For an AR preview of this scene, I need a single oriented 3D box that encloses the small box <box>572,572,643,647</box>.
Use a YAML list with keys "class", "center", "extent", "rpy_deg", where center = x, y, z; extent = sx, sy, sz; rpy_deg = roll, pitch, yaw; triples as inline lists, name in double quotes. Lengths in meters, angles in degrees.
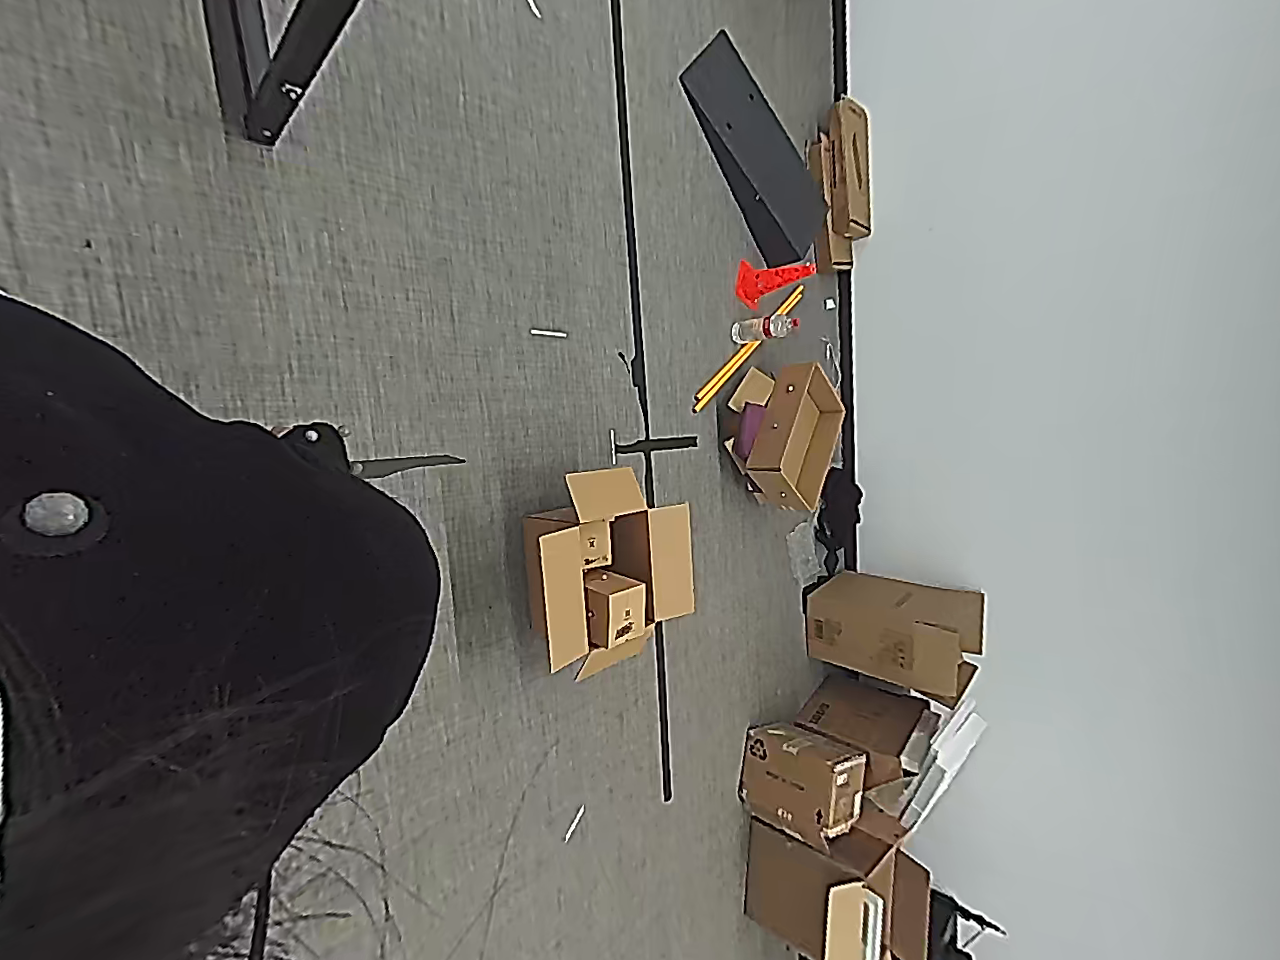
- class: "small box"
  center: [-0.109, 0.412, 1.749]
  extent: [0.168, 0.176, 0.179]
  rpy_deg: [-7, 101, -47]
